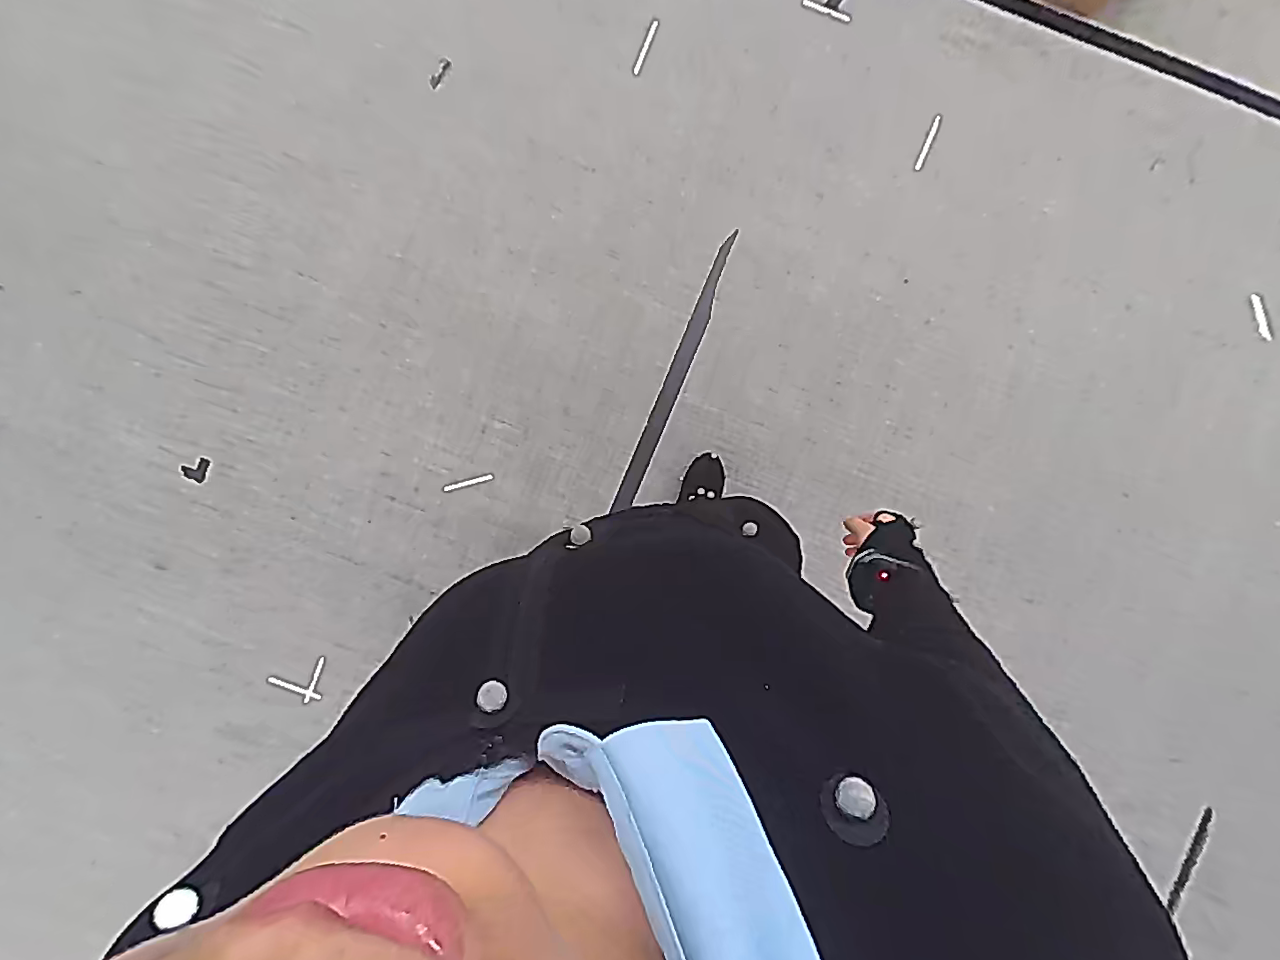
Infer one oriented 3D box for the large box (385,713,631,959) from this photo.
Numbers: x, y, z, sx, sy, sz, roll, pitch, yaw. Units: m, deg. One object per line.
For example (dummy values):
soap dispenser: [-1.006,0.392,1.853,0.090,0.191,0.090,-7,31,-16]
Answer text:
large box: [-0.255,0.774,1.186,0.408,0.320,0.320,18,90,1]
